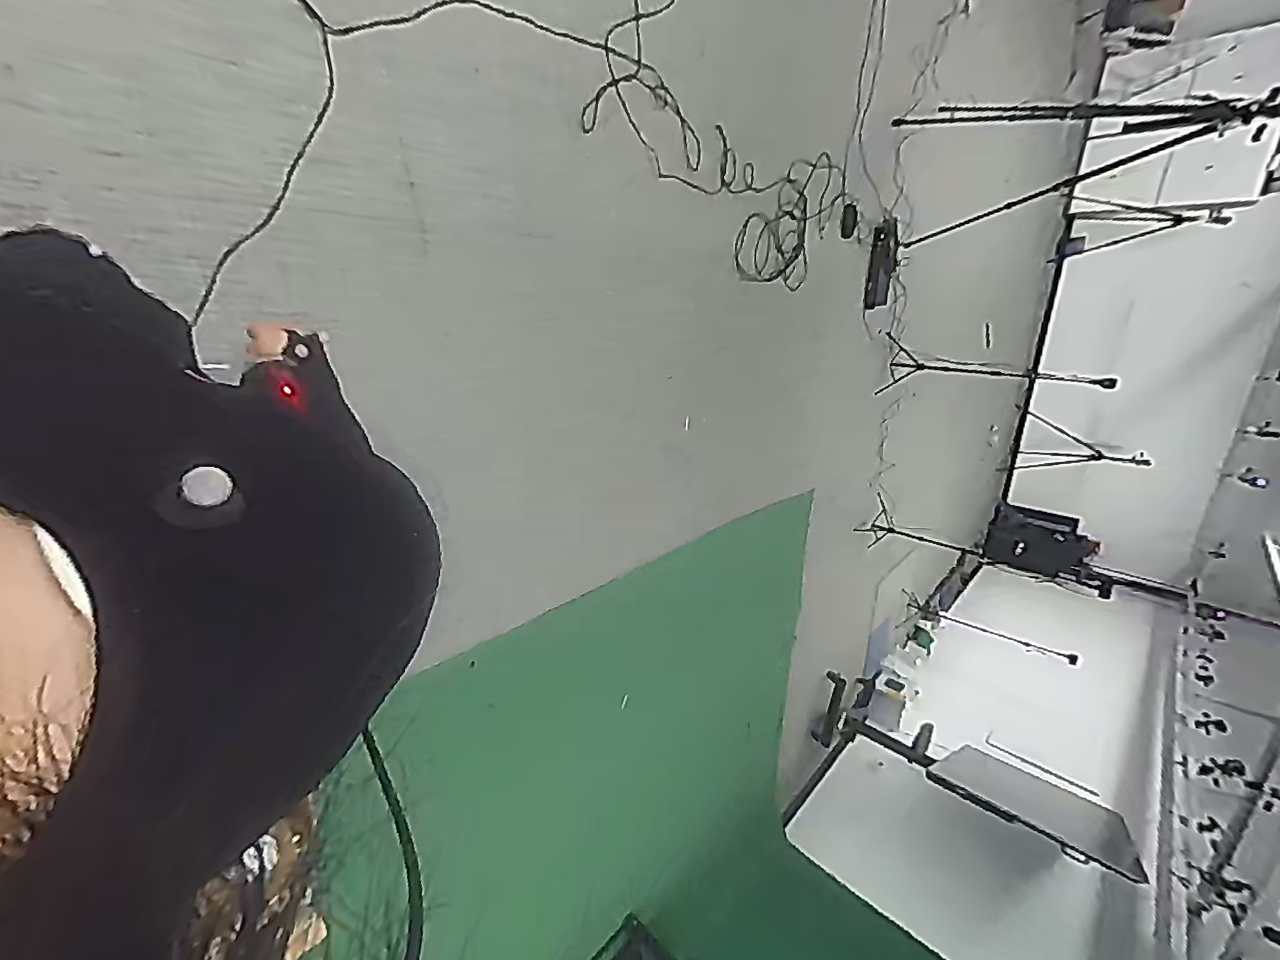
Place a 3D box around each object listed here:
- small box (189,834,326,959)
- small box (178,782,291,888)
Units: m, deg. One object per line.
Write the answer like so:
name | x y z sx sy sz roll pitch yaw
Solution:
small box | -0.745 0.837 1.052 0.168 0.176 0.179 -22 117 -39
small box | -0.859 0.804 1.165 0.168 0.176 0.179 -23 116 -40
